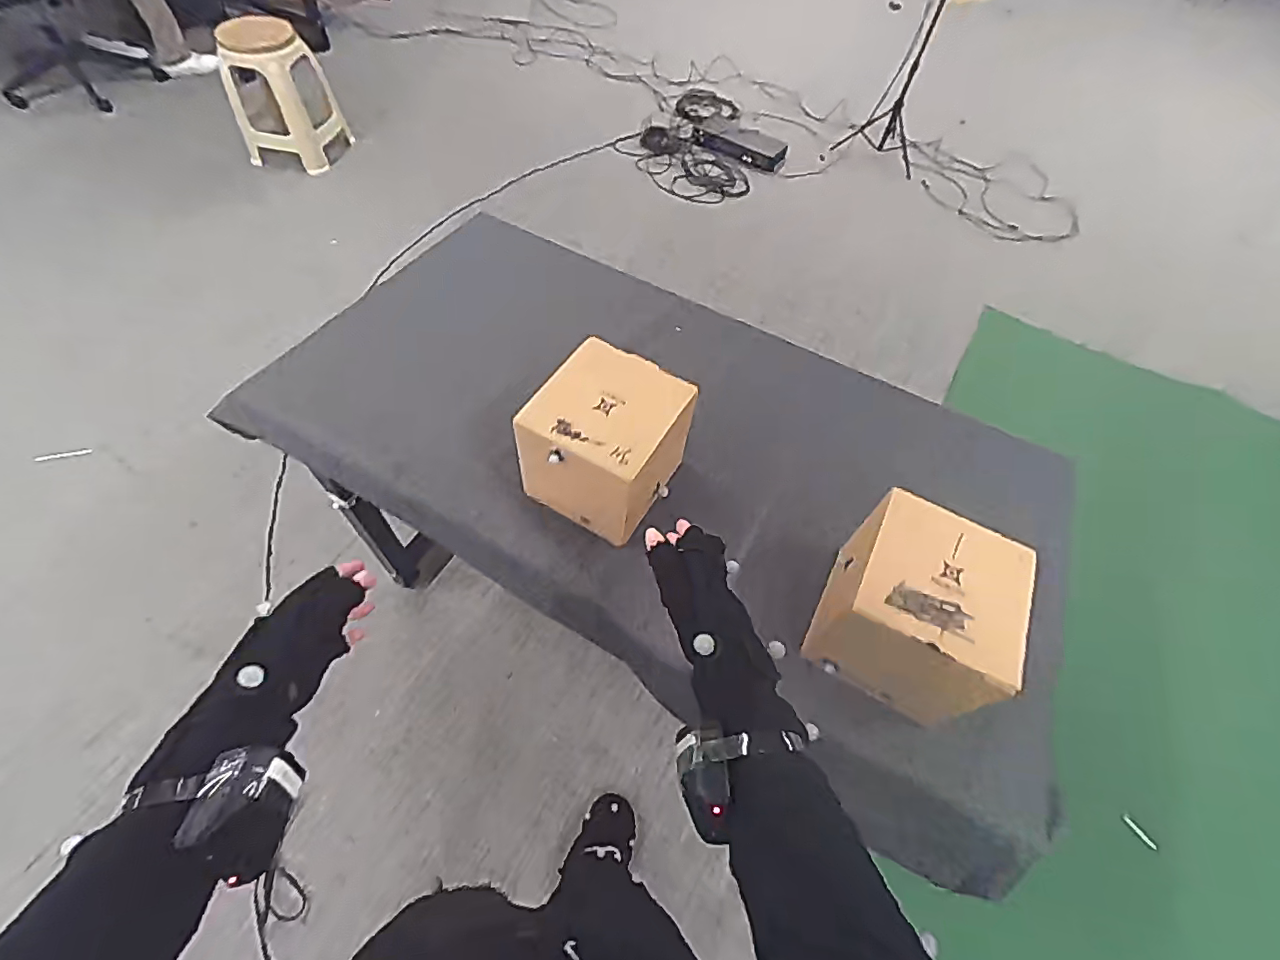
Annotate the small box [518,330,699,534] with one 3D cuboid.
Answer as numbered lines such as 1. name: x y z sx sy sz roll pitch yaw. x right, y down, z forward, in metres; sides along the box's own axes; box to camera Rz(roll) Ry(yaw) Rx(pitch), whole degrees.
1. small box: -0.043 -0.061 0.729 0.168 0.176 0.179 28 58 12

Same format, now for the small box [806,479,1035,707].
1. small box: 0.316 0.139 0.636 0.168 0.176 0.179 28 58 12
